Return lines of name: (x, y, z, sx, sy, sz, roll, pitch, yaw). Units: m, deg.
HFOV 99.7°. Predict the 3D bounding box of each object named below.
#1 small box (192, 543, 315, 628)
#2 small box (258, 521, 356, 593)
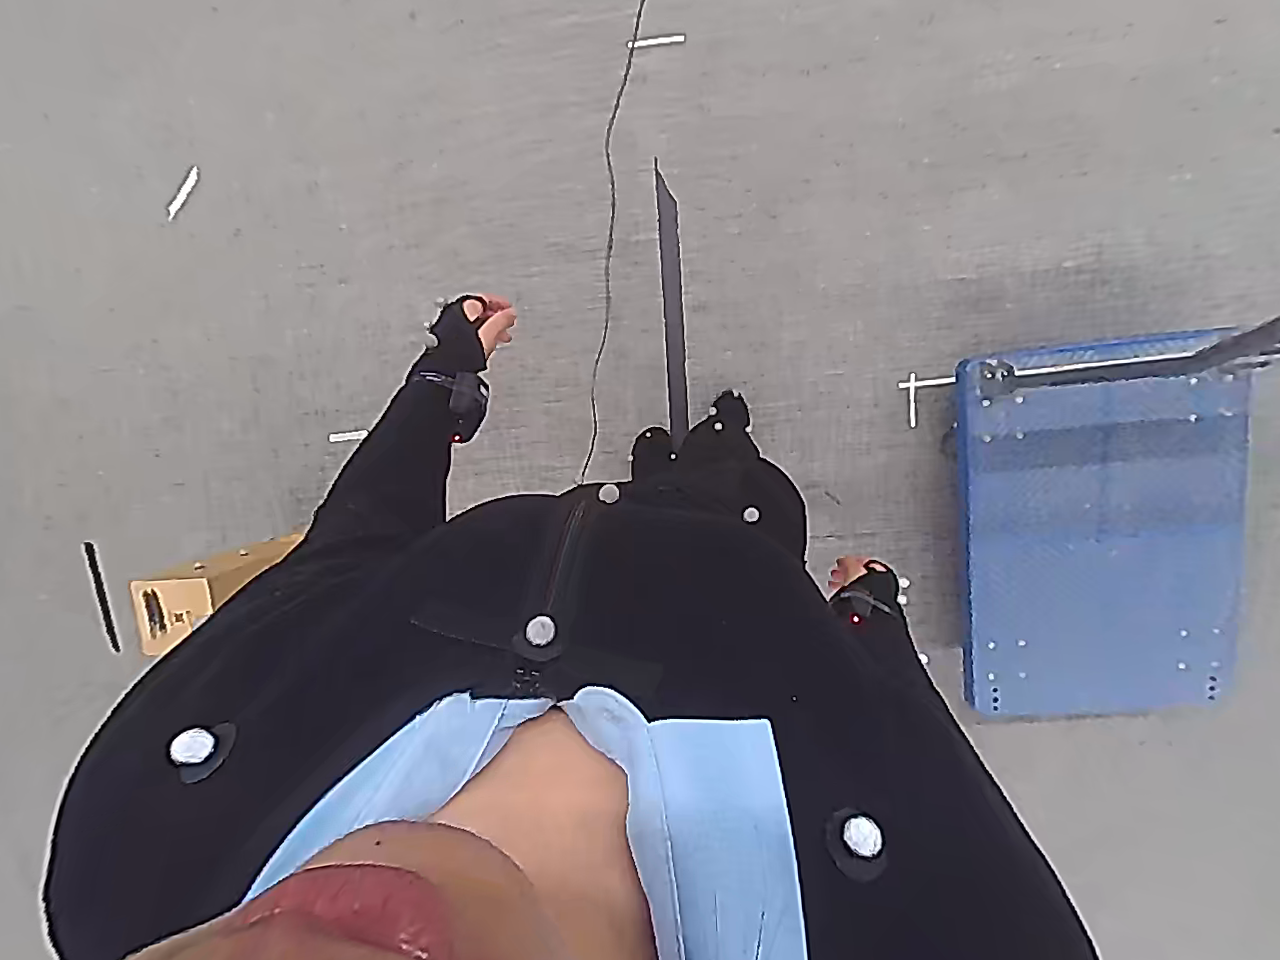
small box: (-0.961, 0.261, 1.357, 0.179, 0.176, 0.168, -3, 99, 5)
small box: (-0.942, 0.227, 1.515, 0.179, 0.176, 0.168, -16, 98, 7)
